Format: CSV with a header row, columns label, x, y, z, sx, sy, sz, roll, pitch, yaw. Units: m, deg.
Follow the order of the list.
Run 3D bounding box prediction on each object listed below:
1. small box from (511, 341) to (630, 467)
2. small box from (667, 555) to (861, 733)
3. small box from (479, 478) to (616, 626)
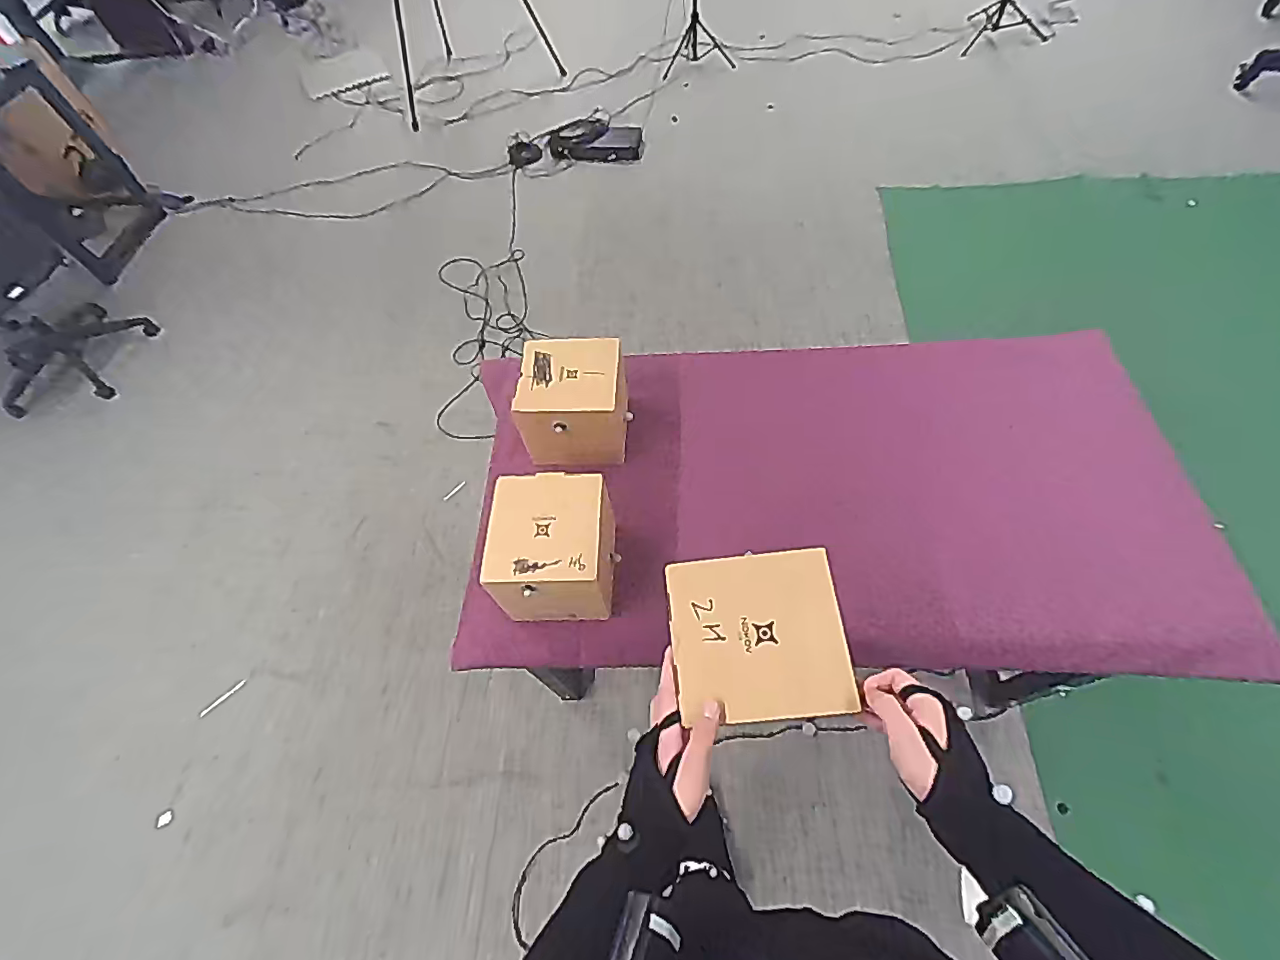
label,x,y,z,sx,sy,sz,roll,pitch,yaw
small box,-0.117,-0.134,0.990,0.179,0.176,0.168,0,60,5
small box,0.127,0.192,0.618,0.179,0.176,0.168,-6,65,5
small box,-0.130,0.114,0.839,0.168,0.176,0.179,-2,57,5
